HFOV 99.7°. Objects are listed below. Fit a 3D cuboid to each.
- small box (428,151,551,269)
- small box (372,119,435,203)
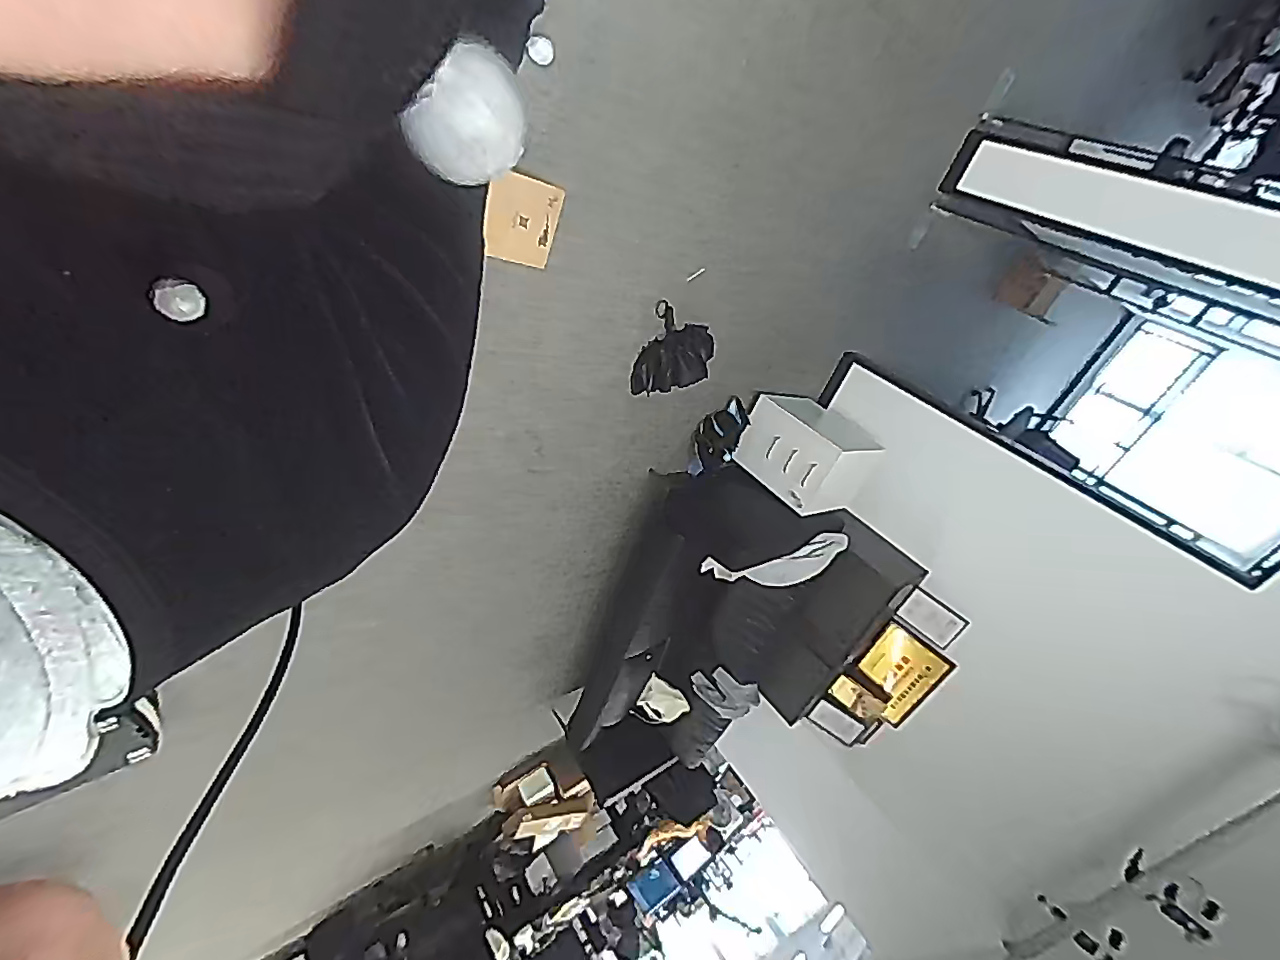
[{"bbox_3d":[-0.325,-0.571,1.144,0.179,0.176,0.168,-5,128,-46],"label":"small box"},{"bbox_3d":[-0.526,-0.751,1.329,0.179,0.176,0.168,4,121,-49],"label":"small box"}]
